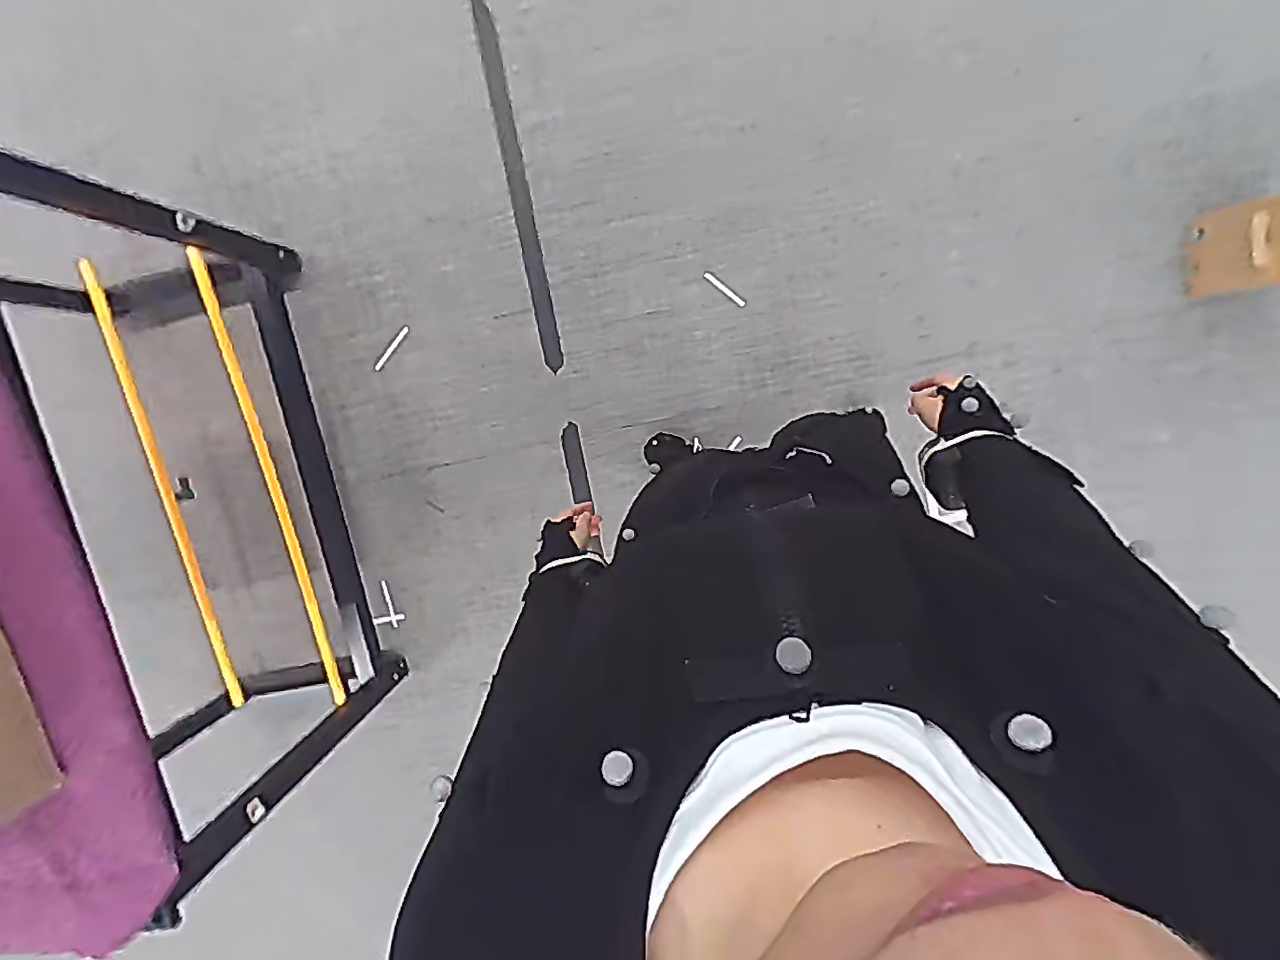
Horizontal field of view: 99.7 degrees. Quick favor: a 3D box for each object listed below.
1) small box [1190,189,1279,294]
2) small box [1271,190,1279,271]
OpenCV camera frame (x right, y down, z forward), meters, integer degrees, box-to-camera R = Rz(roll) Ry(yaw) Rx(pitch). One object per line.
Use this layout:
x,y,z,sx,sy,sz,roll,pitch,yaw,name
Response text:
1.289,-0.492,1.109,0.179,0.176,0.168,-9,98,6,small box
1.282,-0.472,0.947,0.168,0.176,0.179,-16,97,7,small box
